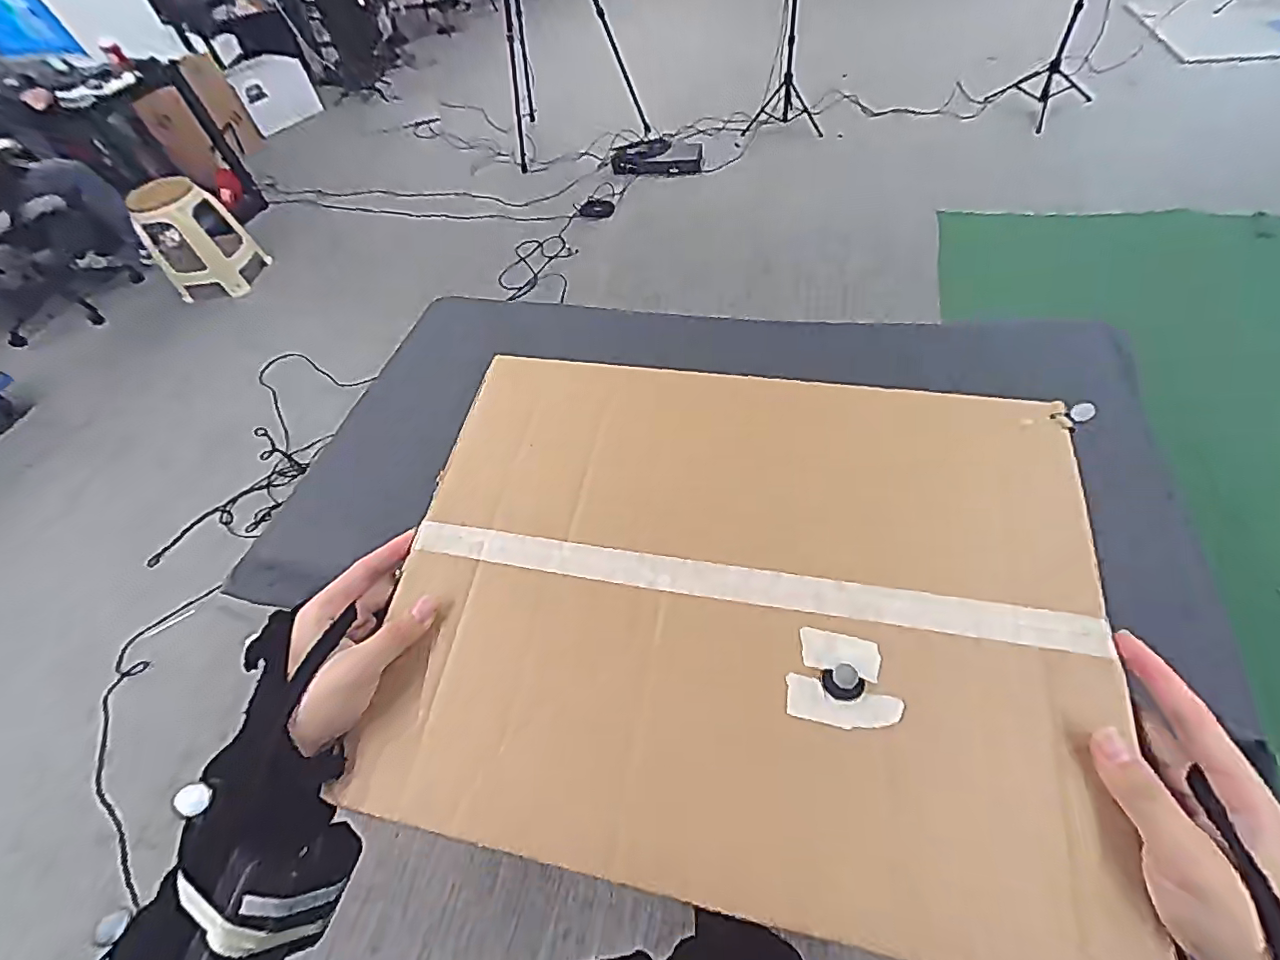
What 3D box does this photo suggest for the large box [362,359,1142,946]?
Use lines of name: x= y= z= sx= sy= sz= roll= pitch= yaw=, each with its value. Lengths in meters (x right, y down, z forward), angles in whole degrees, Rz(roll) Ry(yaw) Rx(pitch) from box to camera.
large box: x=0.072 y=0.125 z=0.472 sx=0.408 sy=0.320 sz=0.320 roll=7 pitch=64 yaw=10
